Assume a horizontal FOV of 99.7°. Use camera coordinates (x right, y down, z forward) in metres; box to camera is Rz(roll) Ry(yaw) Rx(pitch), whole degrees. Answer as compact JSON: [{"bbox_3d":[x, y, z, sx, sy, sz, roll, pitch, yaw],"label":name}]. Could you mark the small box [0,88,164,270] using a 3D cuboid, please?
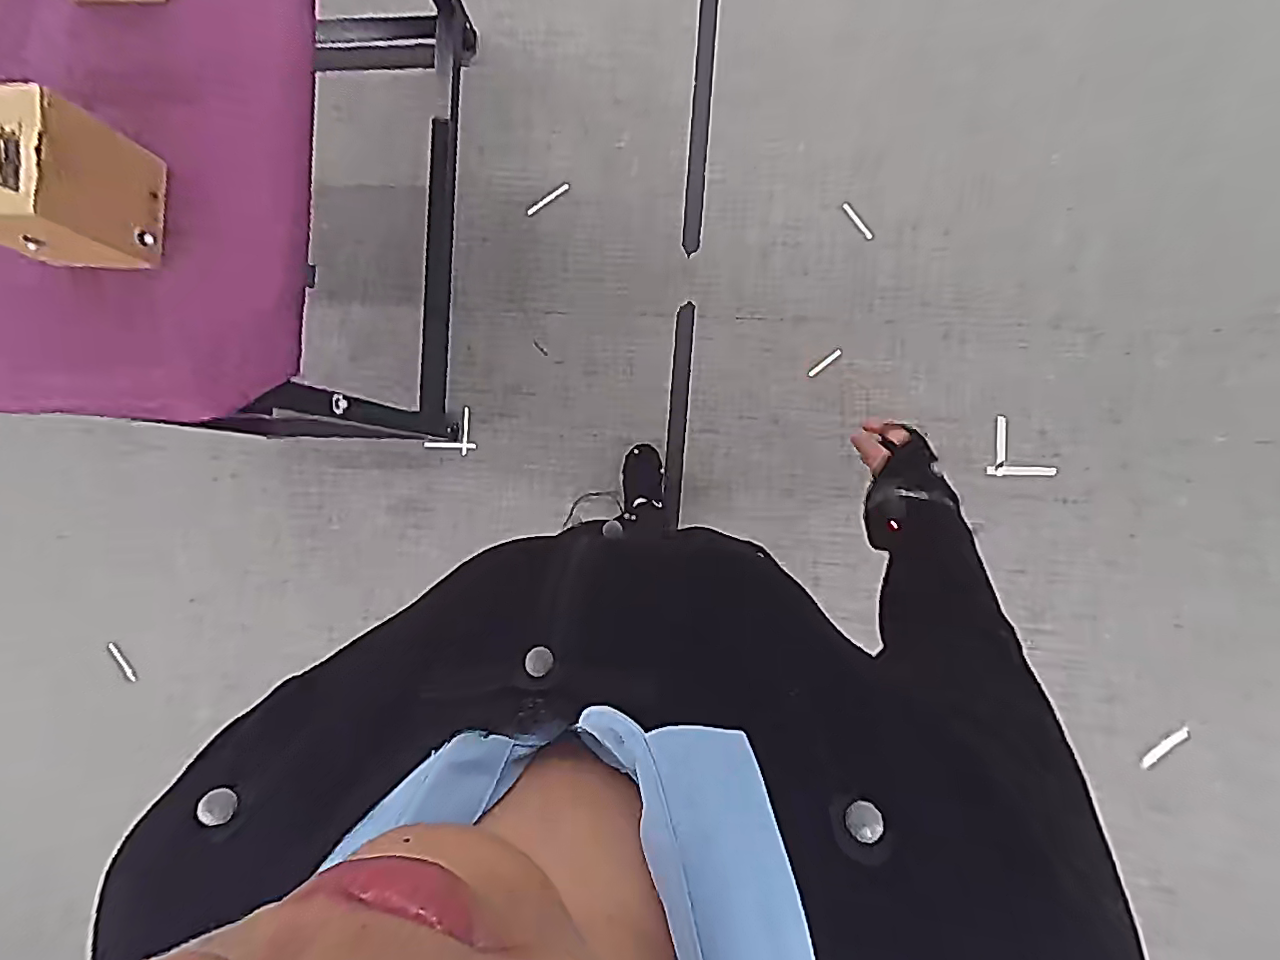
[{"bbox_3d":[-0.824,-0.410,0.759,0.179,0.176,0.168,3,89,5],"label":"small box"}]
